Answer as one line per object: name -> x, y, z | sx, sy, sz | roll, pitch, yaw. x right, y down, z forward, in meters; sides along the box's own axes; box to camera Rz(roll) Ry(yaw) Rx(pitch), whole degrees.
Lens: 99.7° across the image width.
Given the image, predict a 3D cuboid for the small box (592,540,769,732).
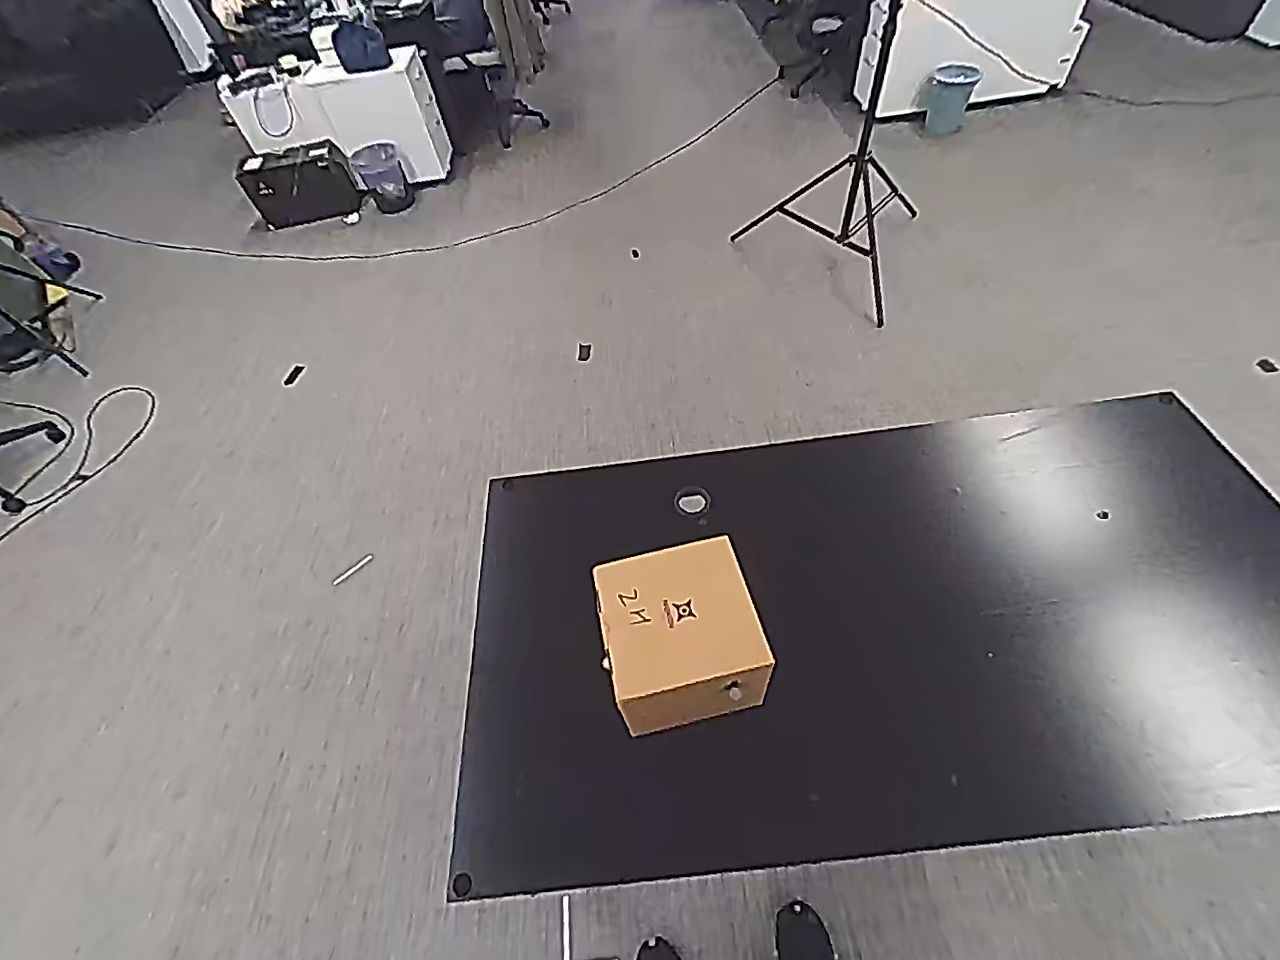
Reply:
small box -> 0.047, 0.203, 0.689 | 0.179, 0.176, 0.168 | -13, 53, -3
